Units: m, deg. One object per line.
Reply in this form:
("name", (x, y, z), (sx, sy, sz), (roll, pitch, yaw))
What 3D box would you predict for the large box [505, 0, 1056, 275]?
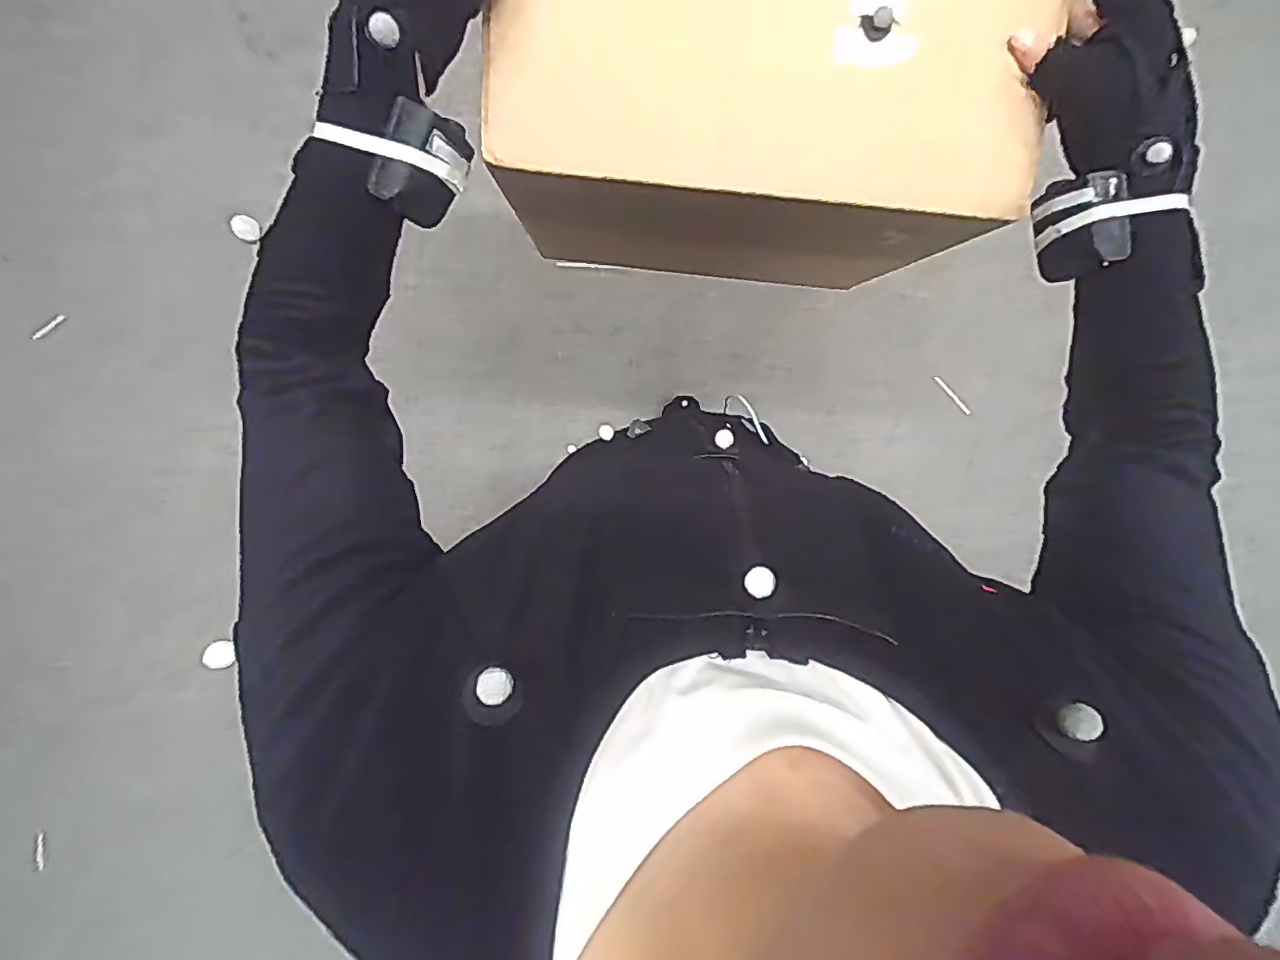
("large box", (0.097, -0.400, 0.526), (0.408, 0.320, 0.320), (3, 101, -4))
